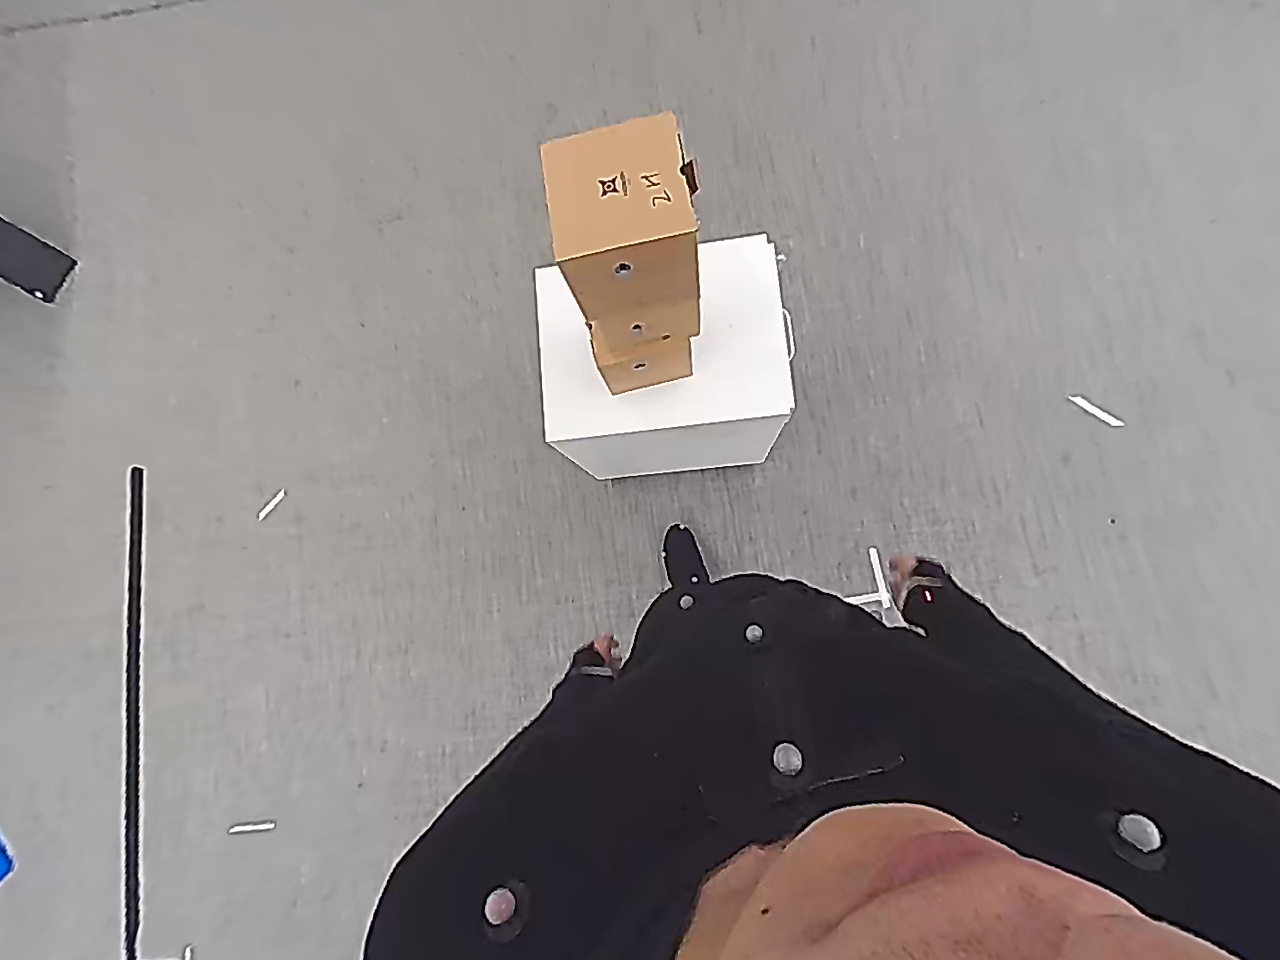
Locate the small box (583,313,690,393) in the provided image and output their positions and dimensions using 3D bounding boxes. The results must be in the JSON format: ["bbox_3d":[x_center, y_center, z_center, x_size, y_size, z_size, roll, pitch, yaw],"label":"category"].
[{"bbox_3d":[-0.004,-0.285,1.058,0.179,0.176,0.168,-13,80,4],"label":"small box"}]

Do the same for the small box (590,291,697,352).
[{"bbox_3d":[-0.001,-0.330,0.900,0.168,0.176,0.179,-12,79,5],"label":"small box"}]

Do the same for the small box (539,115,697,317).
[{"bbox_3d":[-0.022,-0.342,0.736,0.179,0.176,0.168,-10,80,5],"label":"small box"}]
